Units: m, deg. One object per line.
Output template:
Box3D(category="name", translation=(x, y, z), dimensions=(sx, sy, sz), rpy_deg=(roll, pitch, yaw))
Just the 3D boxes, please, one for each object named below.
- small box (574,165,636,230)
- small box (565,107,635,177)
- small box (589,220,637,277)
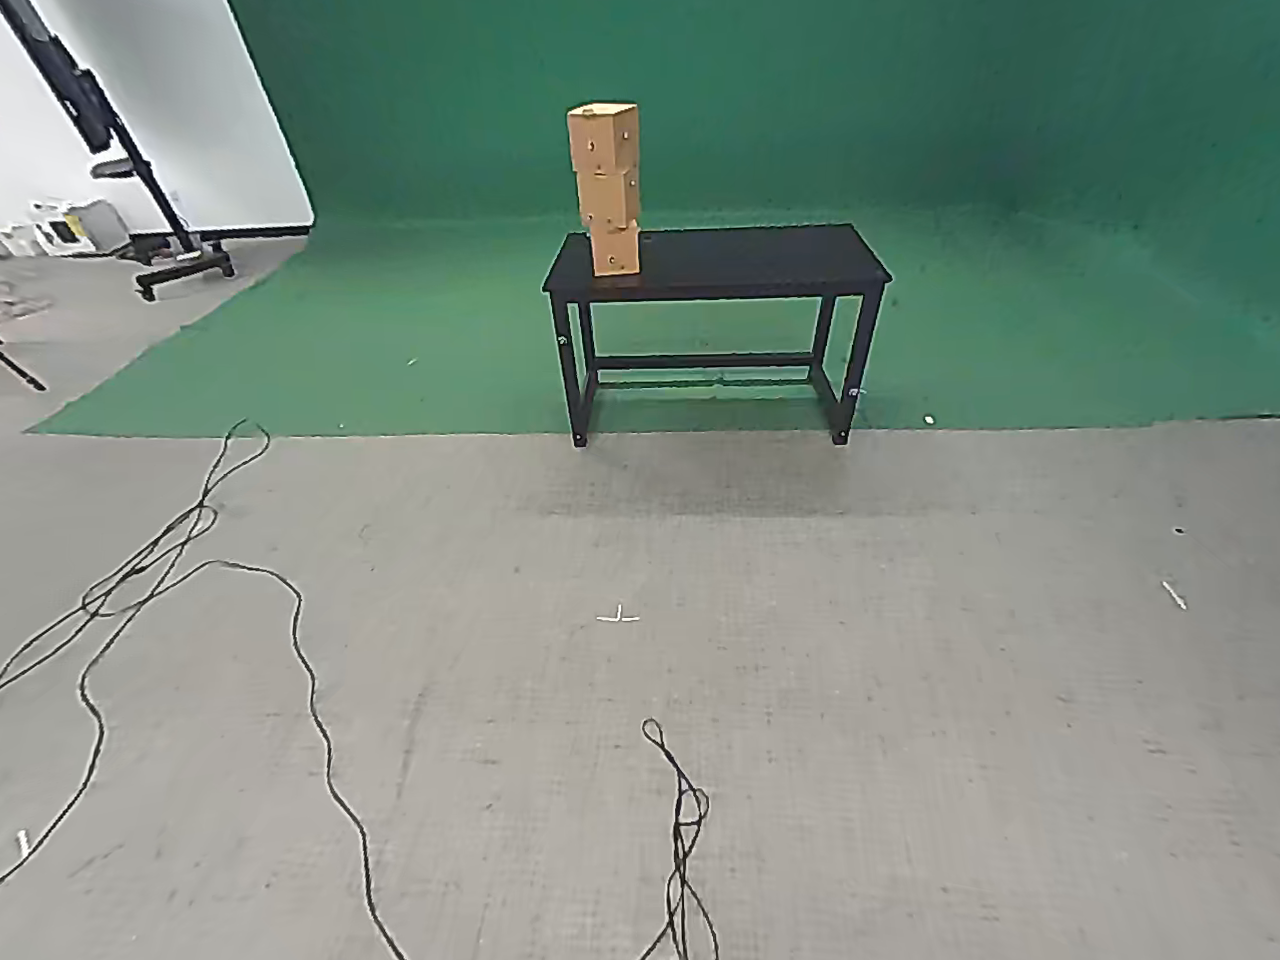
Box3D(category="small box", translation=(-0.113, -0.985, 1.884), dimensions=(0.168, 0.176, 0.179), rpy_deg=(9, 43, 13))
Box3D(category="small box", translation=(-0.123, -1.113, 1.780), dimensions=(0.168, 0.176, 0.179), rpy_deg=(17, 47, 21))
Box3D(category="small box", translation=(-0.101, -0.862, 1.992), dimensions=(0.168, 0.176, 0.179), rpy_deg=(-6, 42, -3))
